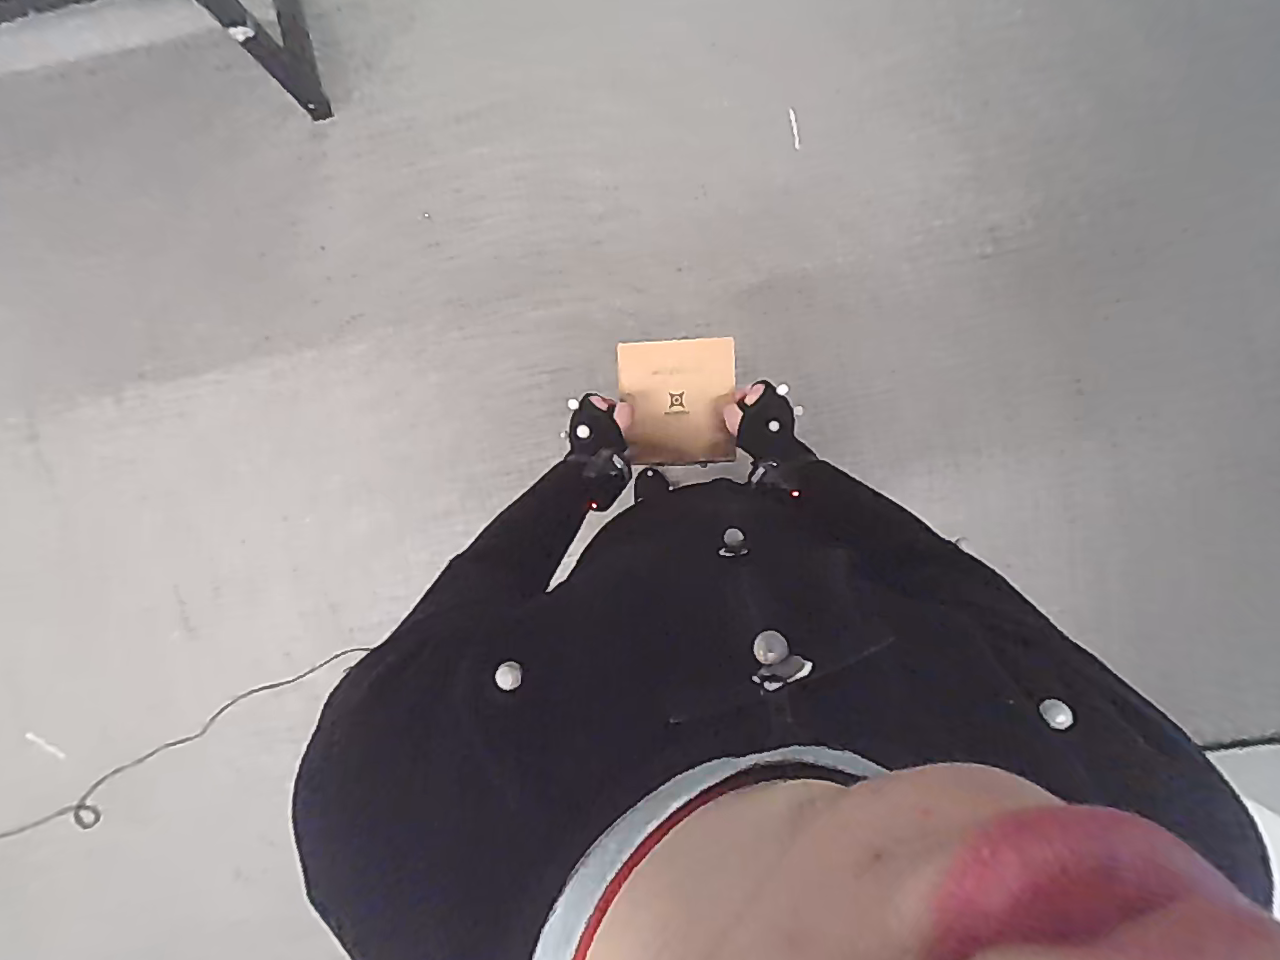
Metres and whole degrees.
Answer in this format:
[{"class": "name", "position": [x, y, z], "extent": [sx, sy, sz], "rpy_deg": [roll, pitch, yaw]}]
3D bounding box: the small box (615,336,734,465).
[{"class": "small box", "position": [0.057, -0.122, 0.838], "extent": [0.168, 0.176, 0.179], "rpy_deg": [-2, 98, 5]}]
